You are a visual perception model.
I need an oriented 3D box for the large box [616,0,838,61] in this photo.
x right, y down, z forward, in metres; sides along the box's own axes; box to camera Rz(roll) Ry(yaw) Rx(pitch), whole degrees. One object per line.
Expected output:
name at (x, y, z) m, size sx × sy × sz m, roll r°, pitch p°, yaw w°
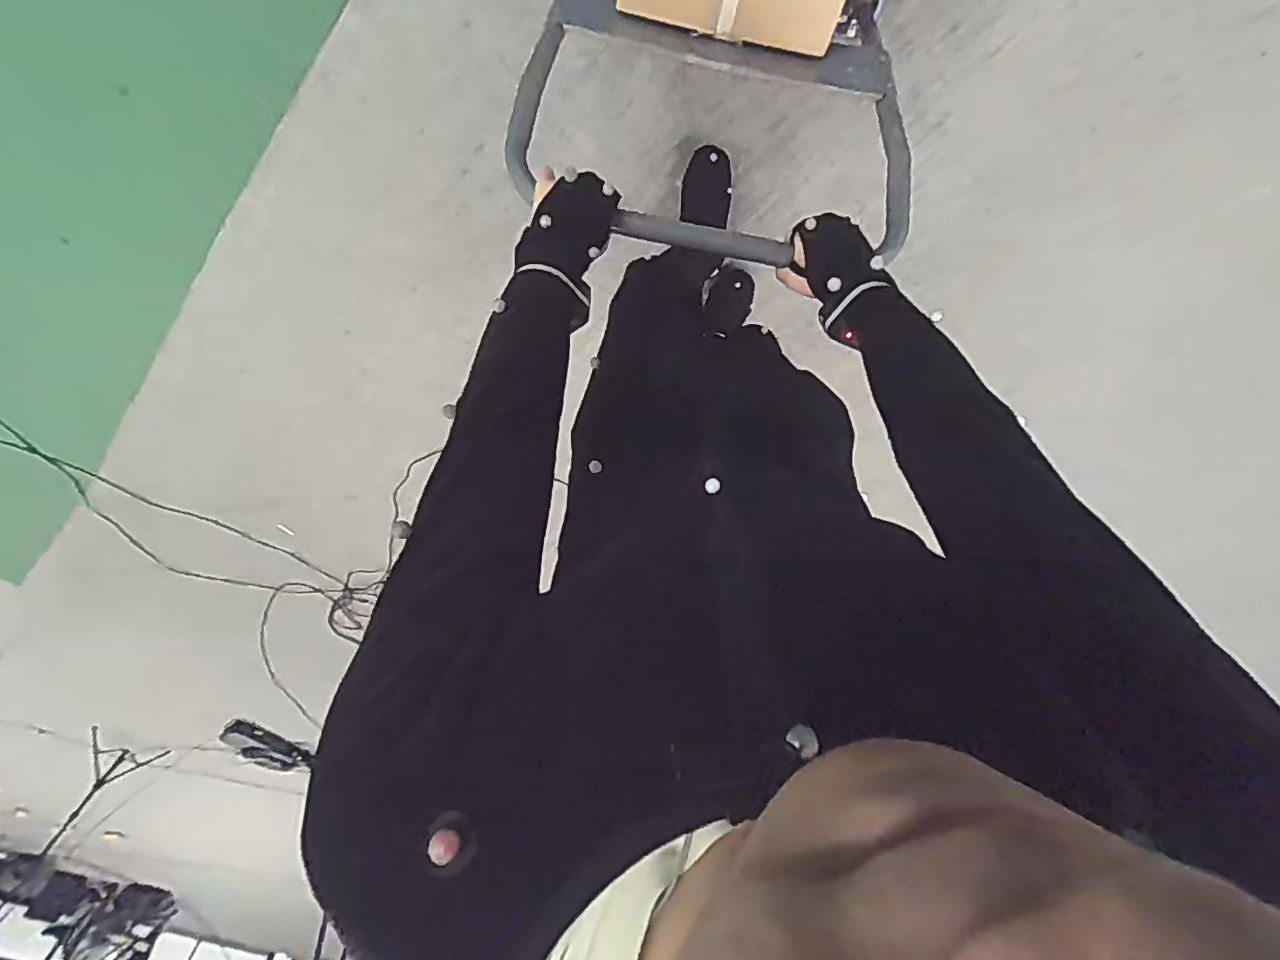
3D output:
large box at (0.159, -0.882, 0.725) m, size 0.320 × 0.320 × 0.408 m, roll 10°, pitch 146°, yaw -4°
